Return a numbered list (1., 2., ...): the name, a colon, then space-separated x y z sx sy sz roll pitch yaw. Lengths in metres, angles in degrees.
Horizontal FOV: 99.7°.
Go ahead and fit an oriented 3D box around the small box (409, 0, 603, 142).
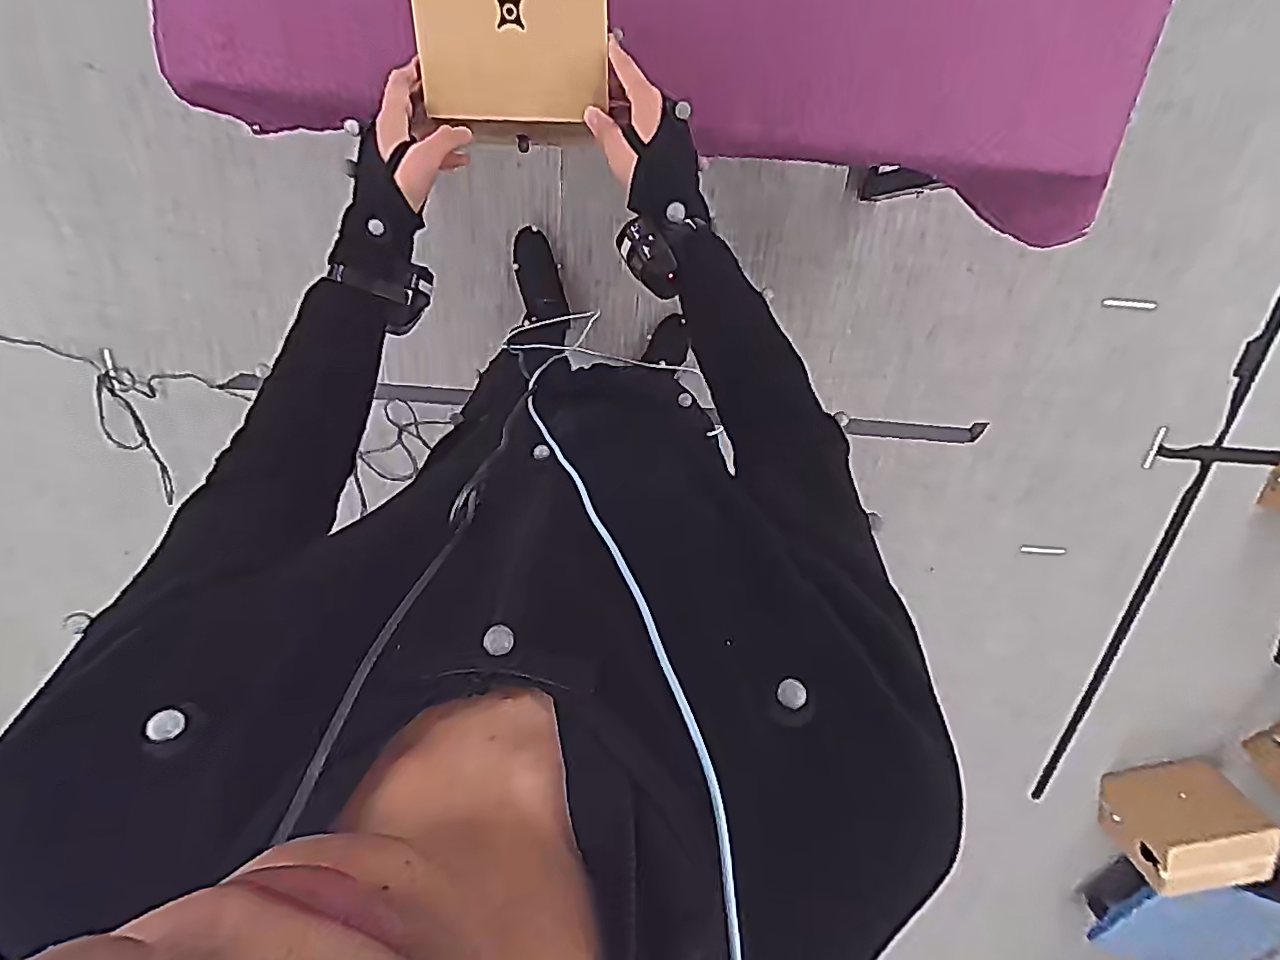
1. small box: -0.119 -0.443 0.528 0.168 0.176 0.179 -1 115 -6
